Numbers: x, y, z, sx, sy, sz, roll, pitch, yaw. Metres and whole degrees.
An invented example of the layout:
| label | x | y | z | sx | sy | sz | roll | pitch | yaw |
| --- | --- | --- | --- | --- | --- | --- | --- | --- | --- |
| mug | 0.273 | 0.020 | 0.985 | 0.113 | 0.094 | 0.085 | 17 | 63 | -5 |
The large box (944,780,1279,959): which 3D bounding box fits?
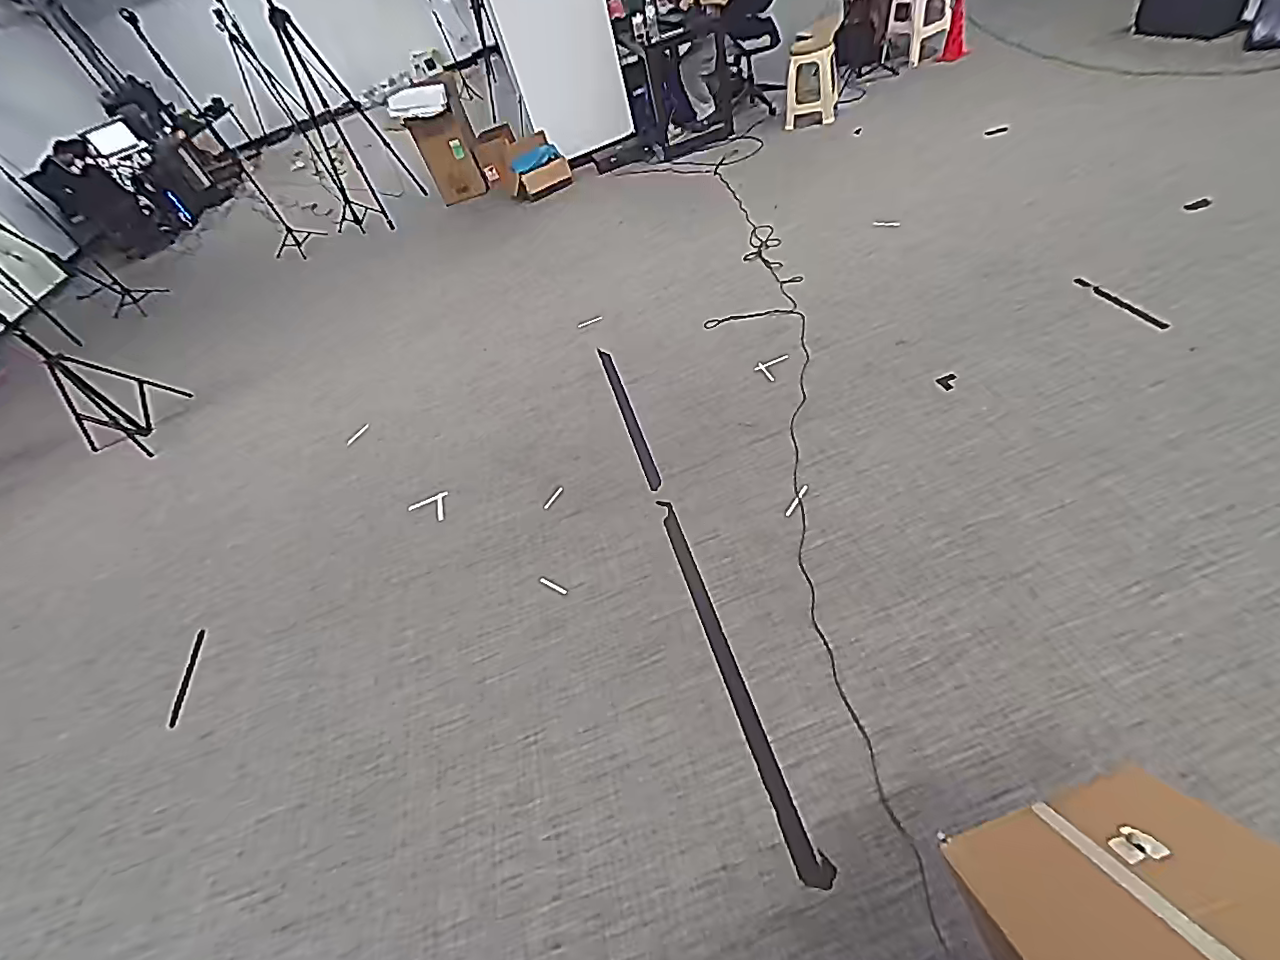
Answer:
| label | x | y | z | sx | sy | sz | roll | pitch | yaw |
| --- | --- | --- | --- | --- | --- | --- | --- | --- | --- |
| large box | 0.642 | 0.627 | 0.598 | 0.320 | 0.408 | 0.320 | -23 | 84 | 2 |
